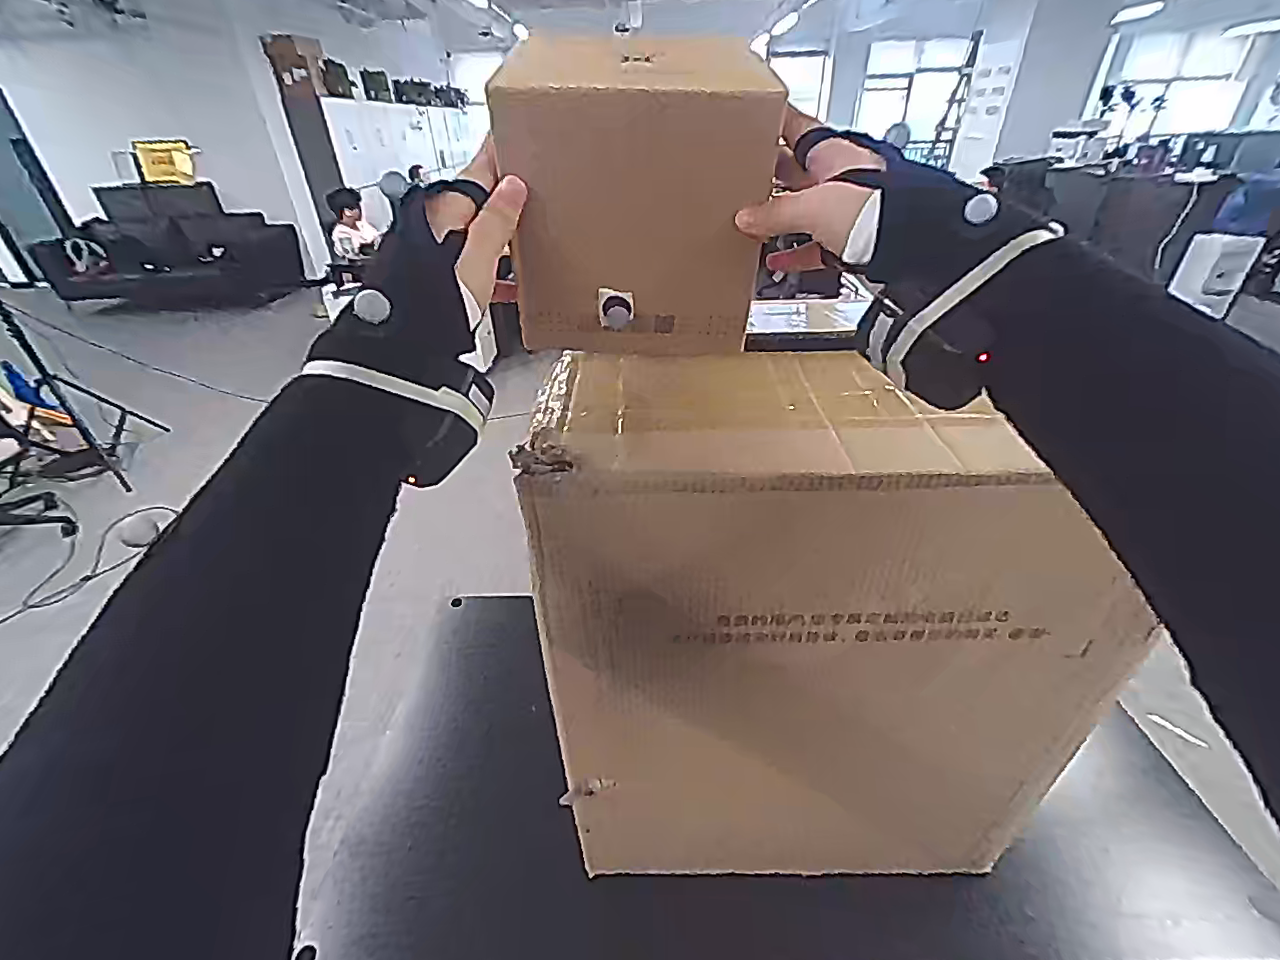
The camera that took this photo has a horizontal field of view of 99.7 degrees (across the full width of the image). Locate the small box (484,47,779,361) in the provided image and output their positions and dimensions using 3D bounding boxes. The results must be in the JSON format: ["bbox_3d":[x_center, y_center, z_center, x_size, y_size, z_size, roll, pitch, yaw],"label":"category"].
[{"bbox_3d":[-0.007,-0.208,0.410,0.168,0.176,0.179,-2,47,-1],"label":"small box"}]
